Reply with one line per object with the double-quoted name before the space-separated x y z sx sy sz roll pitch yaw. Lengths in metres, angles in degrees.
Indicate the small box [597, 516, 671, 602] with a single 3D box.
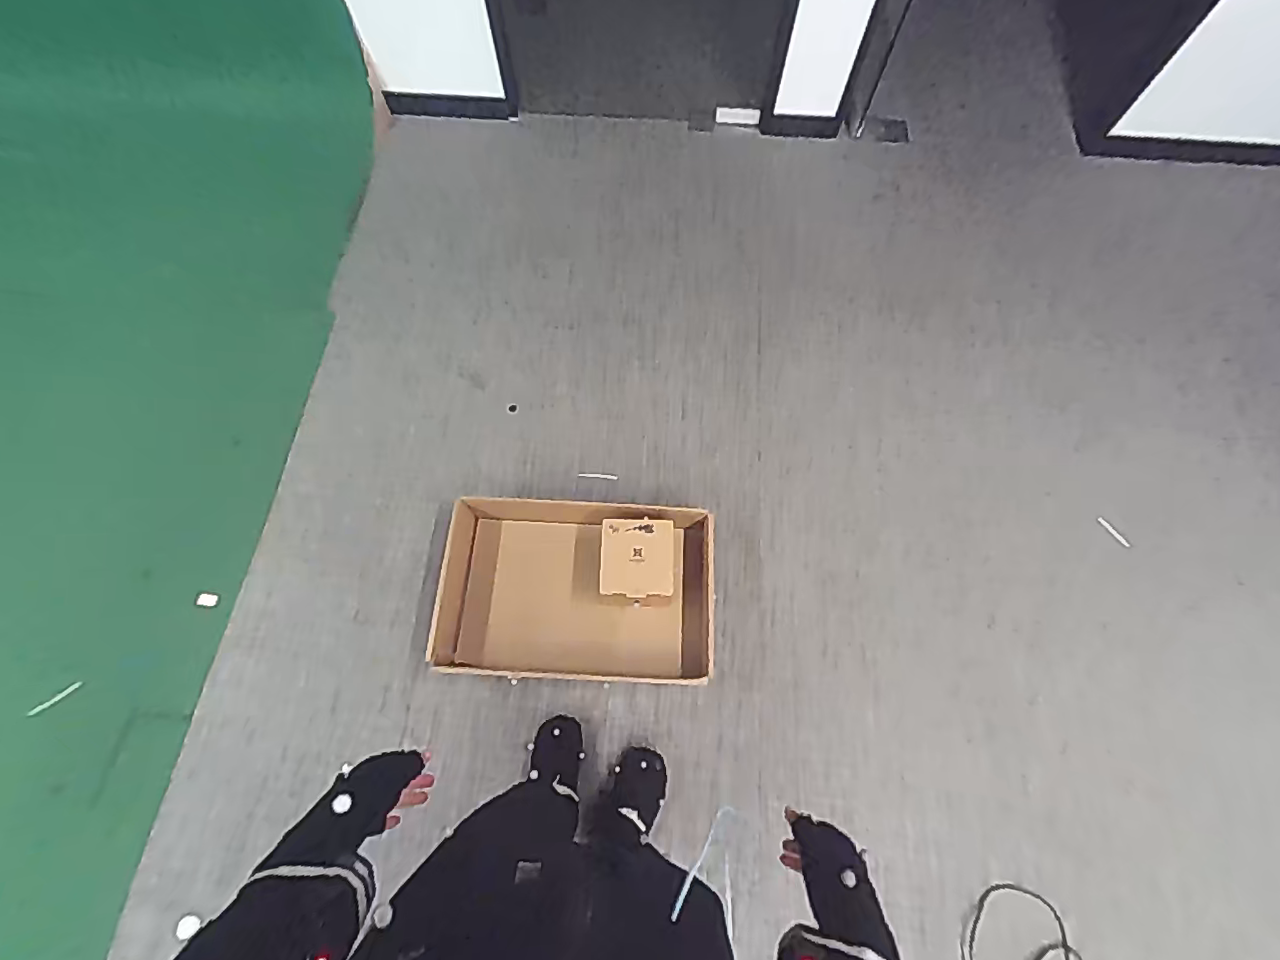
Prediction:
"small box" -0.010 0.193 1.287 0.168 0.176 0.179 -1 68 1
